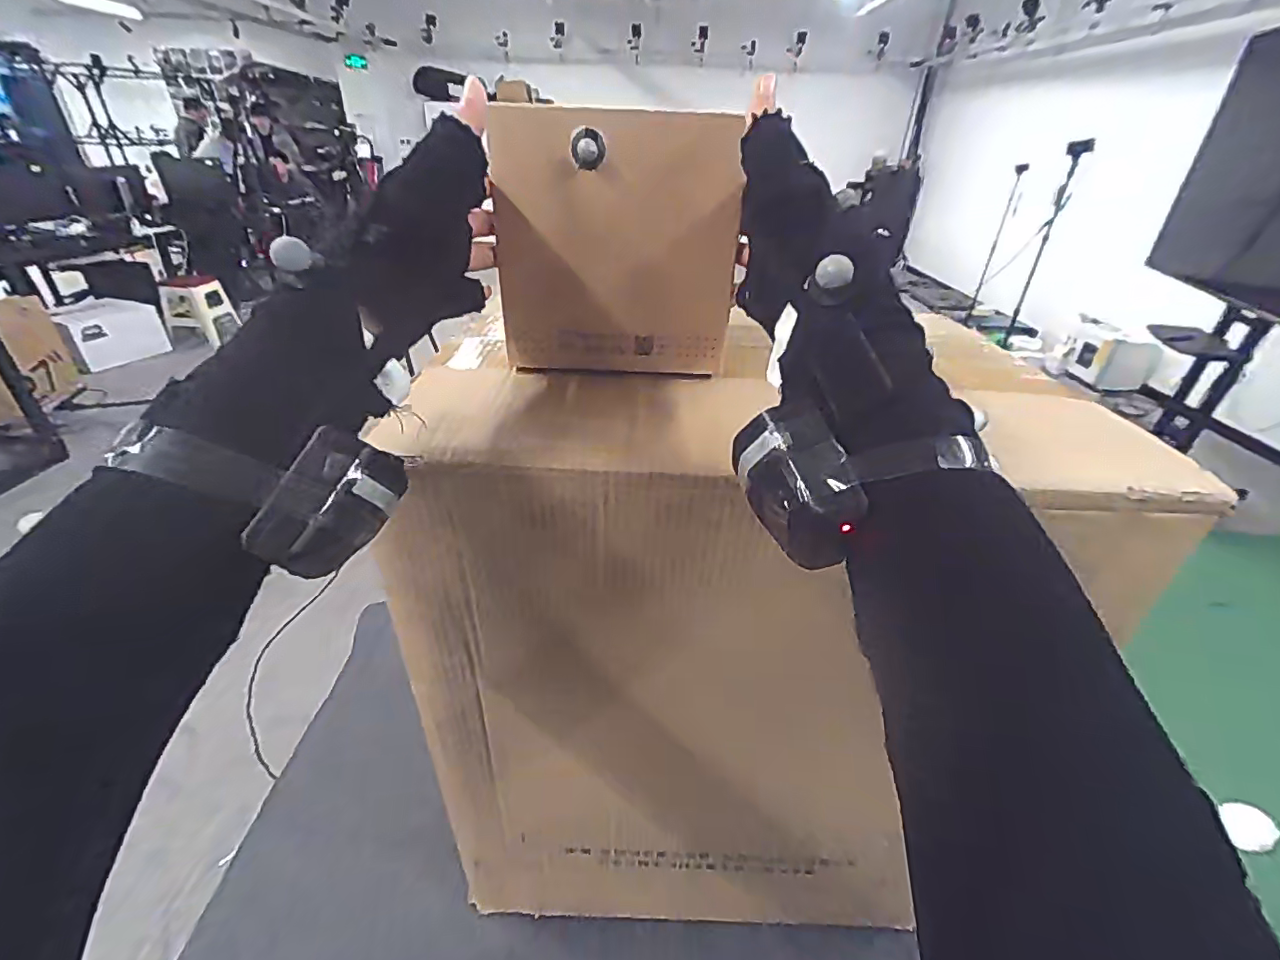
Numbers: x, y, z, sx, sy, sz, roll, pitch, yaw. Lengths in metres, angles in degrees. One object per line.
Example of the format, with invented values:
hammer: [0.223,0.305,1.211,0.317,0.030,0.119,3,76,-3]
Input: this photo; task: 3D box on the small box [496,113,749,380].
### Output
small box: [-0.013,-0.193,0.453,0.168,0.176,0.179,2,29,0]
